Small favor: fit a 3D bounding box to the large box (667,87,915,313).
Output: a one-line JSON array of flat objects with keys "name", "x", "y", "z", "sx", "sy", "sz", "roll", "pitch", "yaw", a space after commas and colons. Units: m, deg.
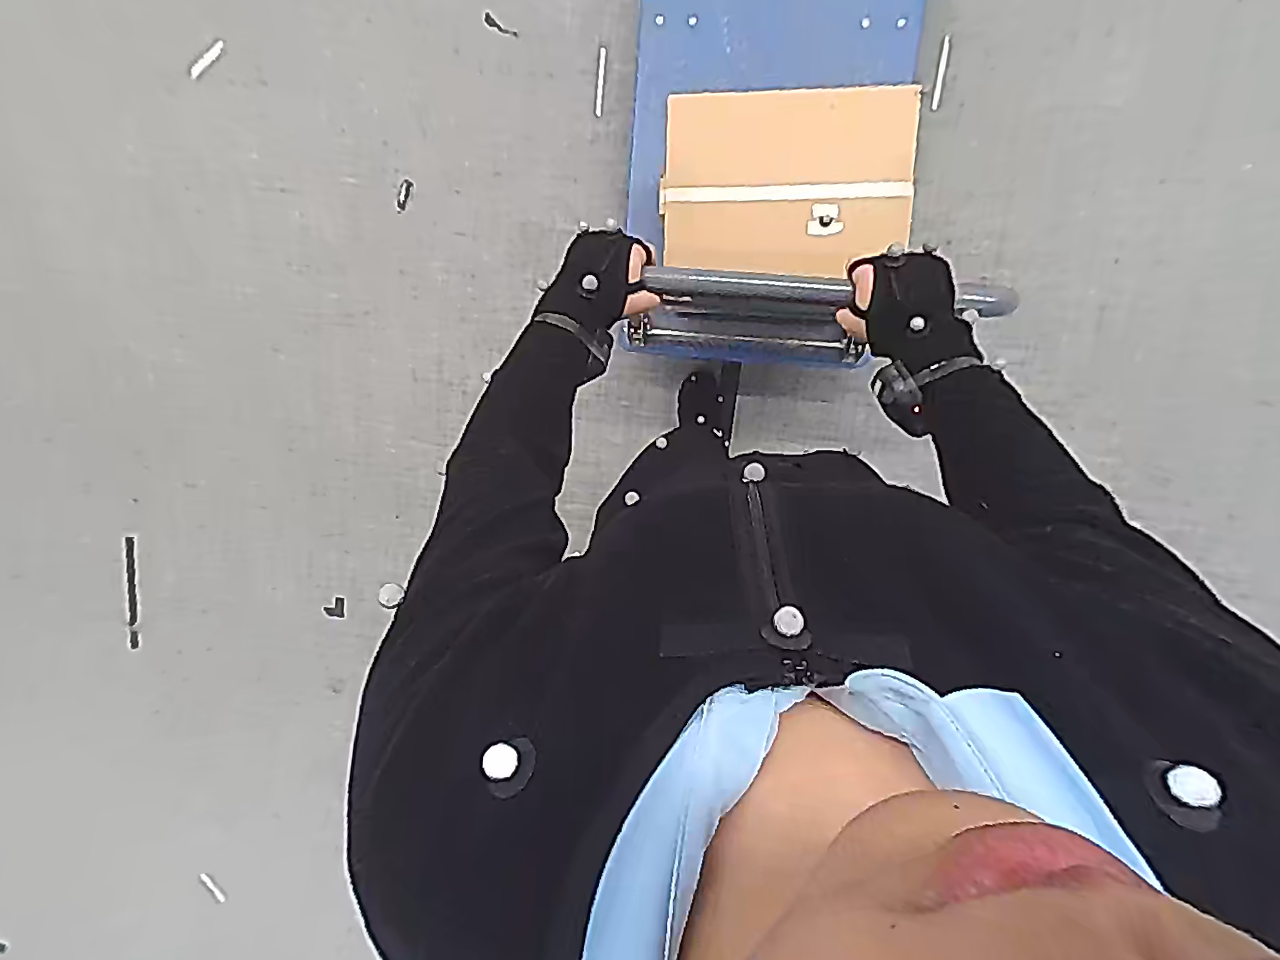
[{"name": "large box", "x": 0.260, "y": -0.511, "z": 1.060, "sx": 0.408, "sy": 0.320, "sz": 0.320, "roll": 2, "pitch": 101, "yaw": 5}]
